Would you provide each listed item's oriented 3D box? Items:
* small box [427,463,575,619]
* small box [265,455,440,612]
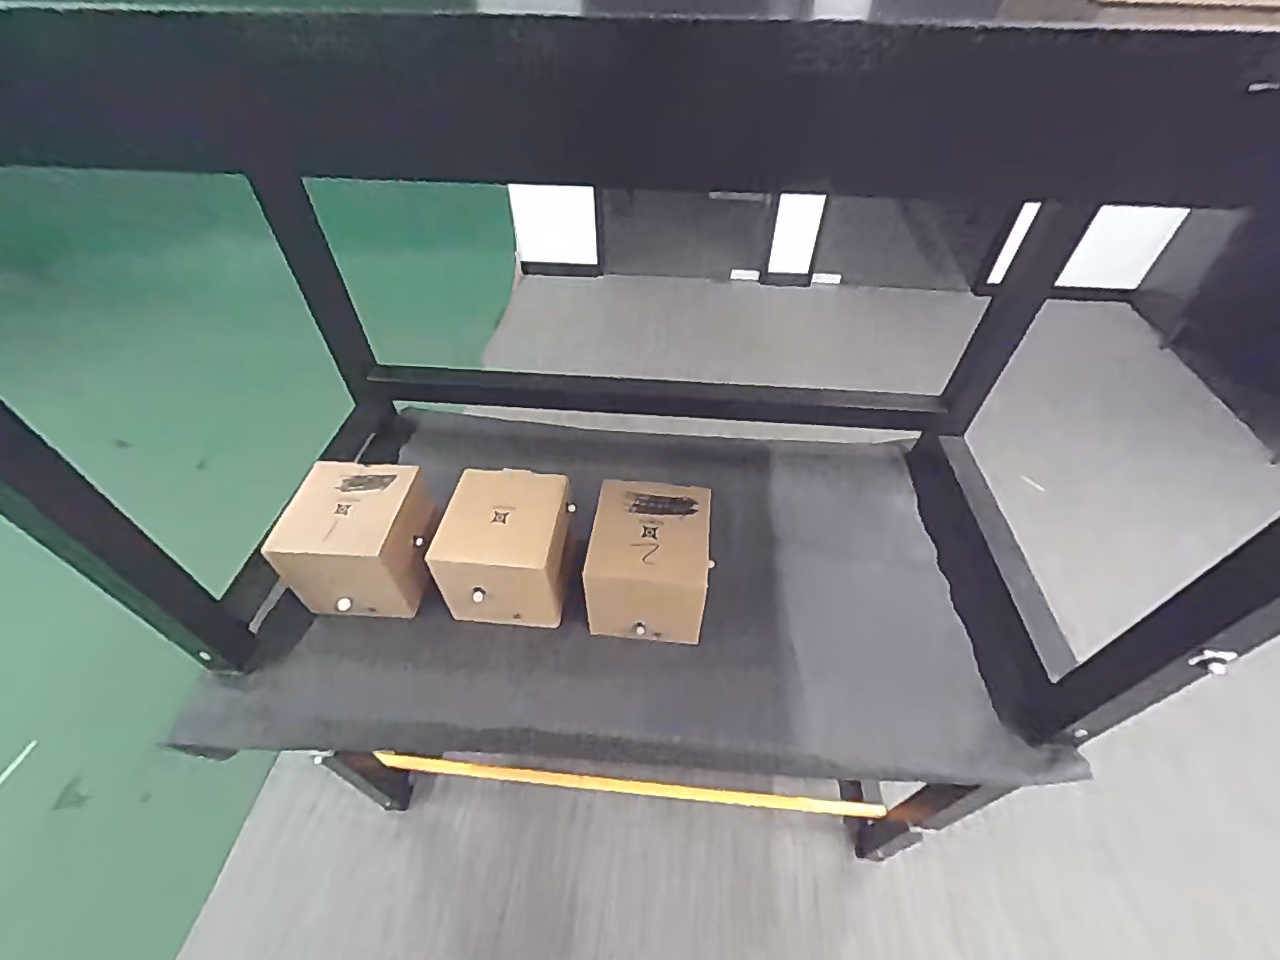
[{"bbox_3d":[-0.199,0.097,0.836,0.168,0.176,0.179,4,46,3],"label":"small box"},{"bbox_3d":[-0.426,0.083,0.844,0.168,0.176,0.179,2,47,2],"label":"small box"}]
